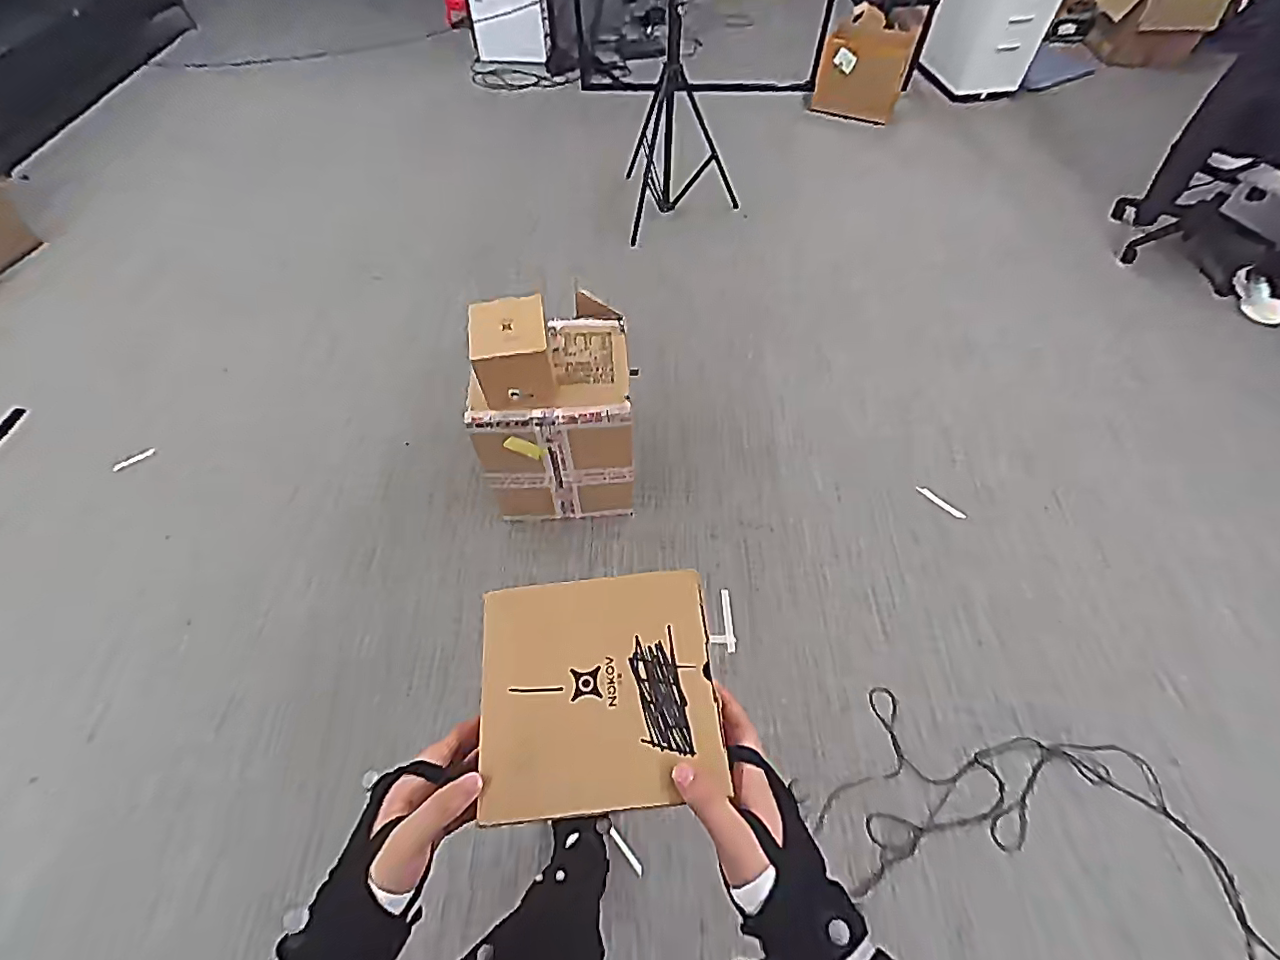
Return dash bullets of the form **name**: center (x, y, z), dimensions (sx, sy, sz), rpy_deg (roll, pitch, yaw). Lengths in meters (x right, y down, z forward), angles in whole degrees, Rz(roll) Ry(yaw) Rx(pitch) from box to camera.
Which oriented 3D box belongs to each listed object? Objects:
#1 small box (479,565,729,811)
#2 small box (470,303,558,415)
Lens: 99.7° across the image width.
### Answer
- **small box**: center (-0.029, 0.187, 0.480), dimensions (0.179, 0.176, 0.168), rpy_deg (-6, 60, -1)
- **small box**: center (-0.289, -0.277, 1.249), dimensions (0.168, 0.176, 0.179), rpy_deg (-10, 61, -5)
